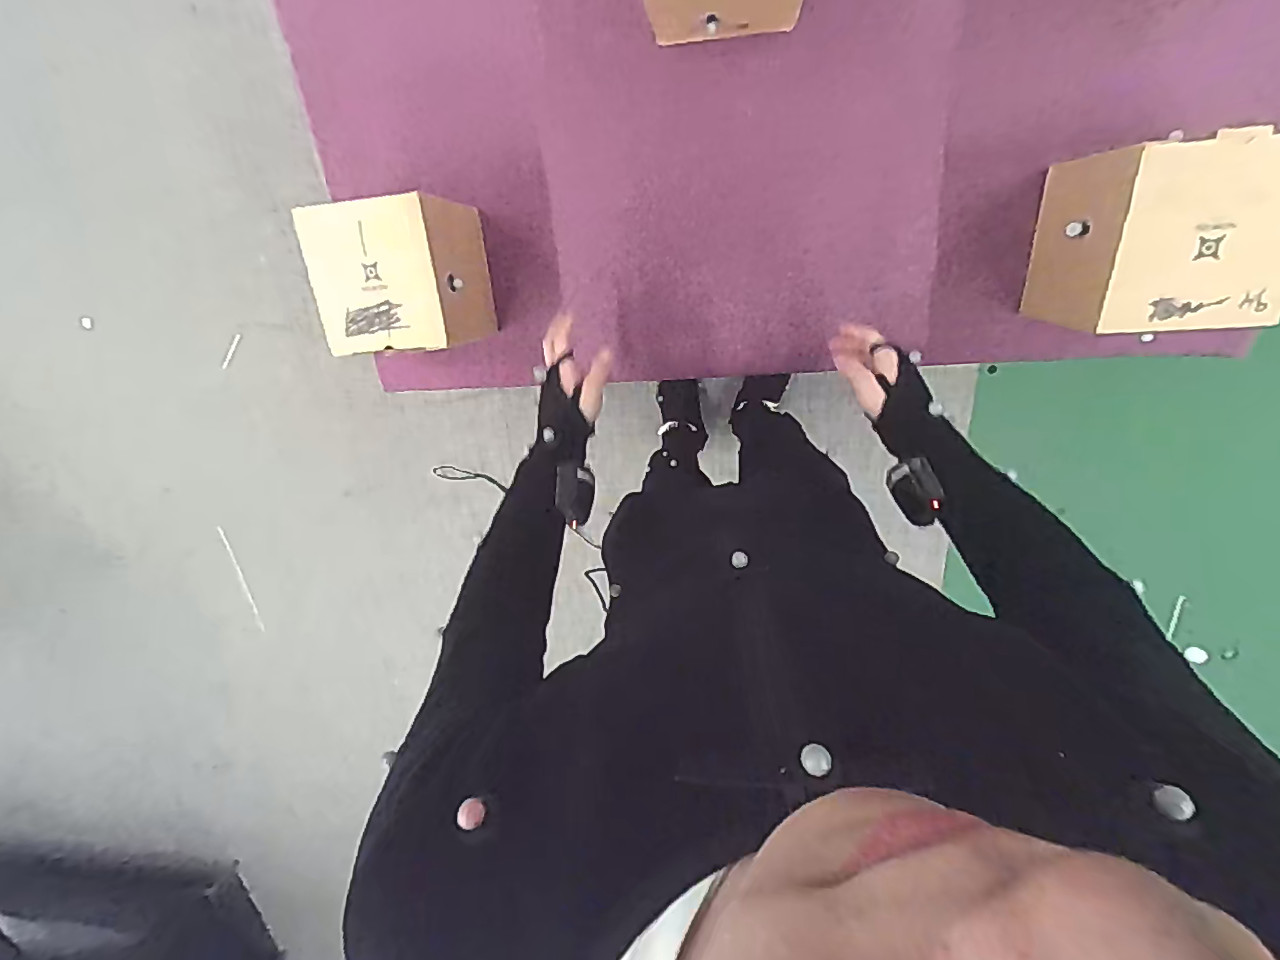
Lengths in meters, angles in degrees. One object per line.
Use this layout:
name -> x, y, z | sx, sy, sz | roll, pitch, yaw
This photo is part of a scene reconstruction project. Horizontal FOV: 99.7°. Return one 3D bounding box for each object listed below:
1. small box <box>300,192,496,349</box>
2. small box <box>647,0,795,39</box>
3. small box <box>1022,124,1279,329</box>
small box -> -0.315, -0.285, 0.746 | 0.168, 0.176, 0.179 | -1, 111, 10
small box -> 0.081, -0.588, 0.547 | 0.168, 0.176, 0.179 | 1, 115, 10
small box -> 0.557, -0.268, 0.593 | 0.168, 0.176, 0.179 | 1, 113, 11
